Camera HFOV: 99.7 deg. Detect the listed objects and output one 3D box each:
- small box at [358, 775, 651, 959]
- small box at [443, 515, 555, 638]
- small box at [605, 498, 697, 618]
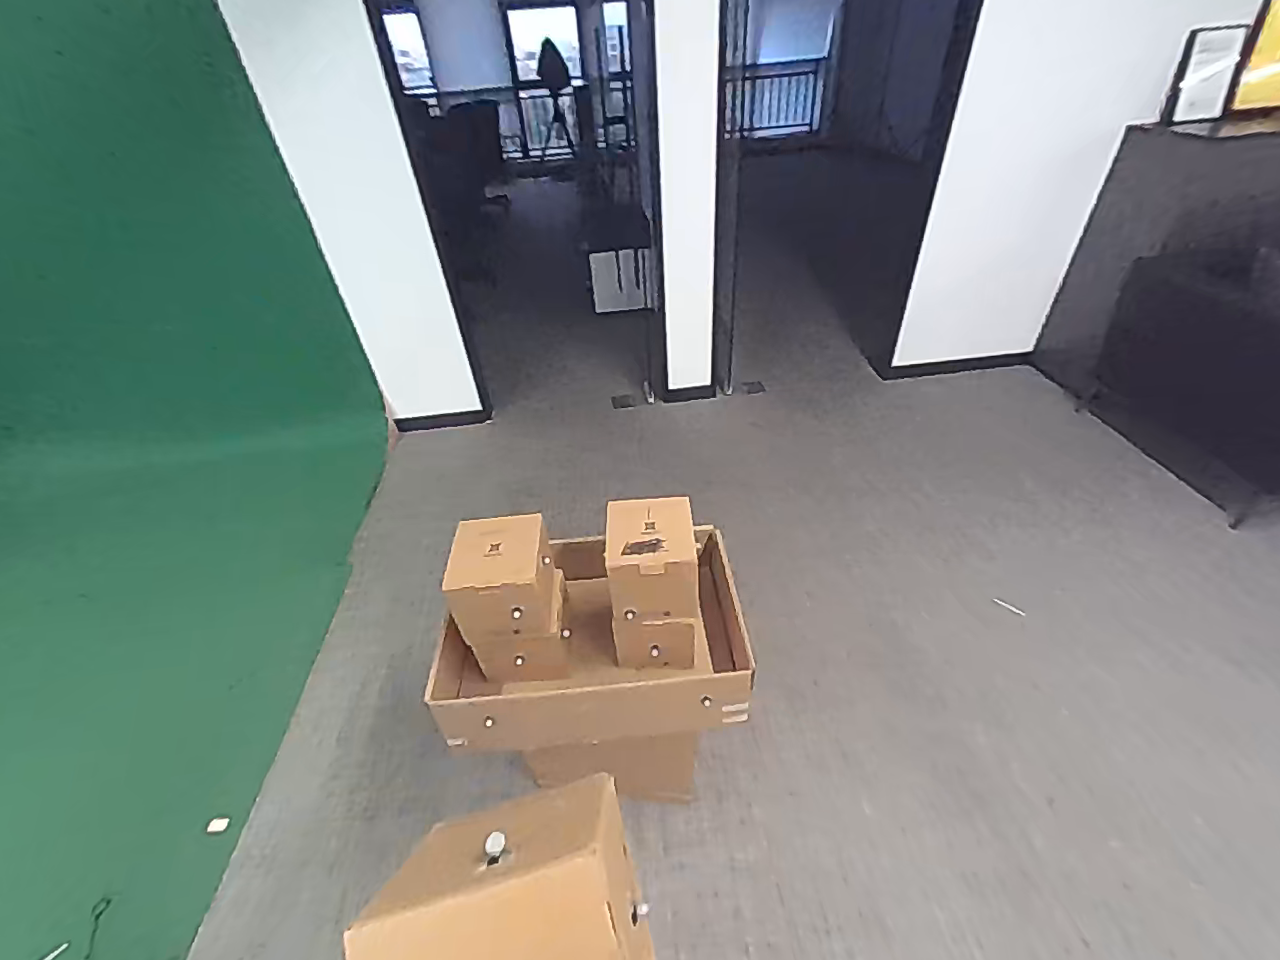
[{"bbox_3d":[-0.089,0.364,0.430,0.179,0.176,0.168,-14,78,-5],"label":"small box"},{"bbox_3d":[-0.262,0.192,1.053,0.168,0.176,0.179,-4,39,-1],"label":"small box"},{"bbox_3d":[0.024,0.158,1.068,0.168,0.176,0.179,-3,39,1],"label":"small box"}]
